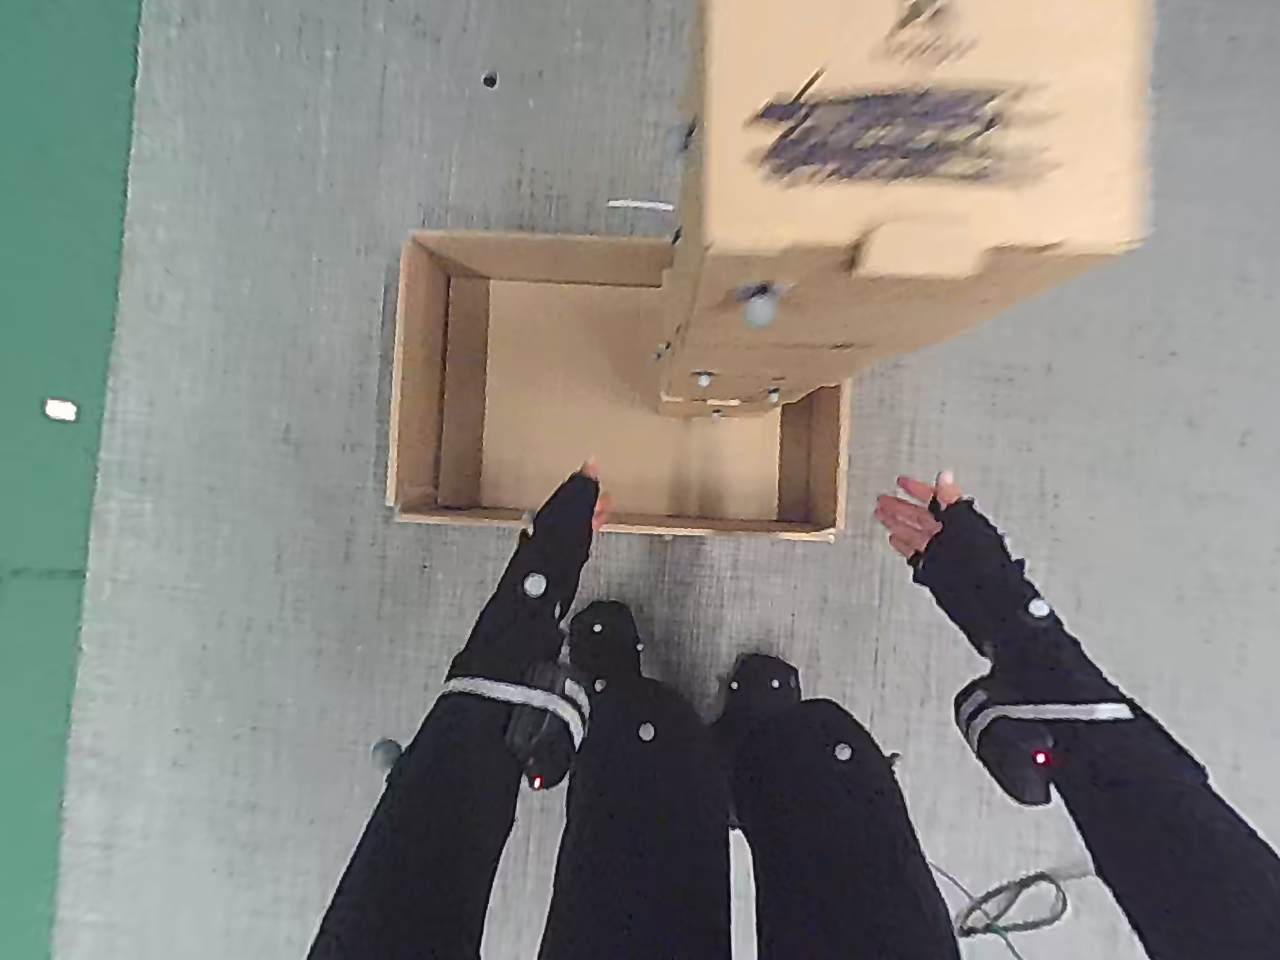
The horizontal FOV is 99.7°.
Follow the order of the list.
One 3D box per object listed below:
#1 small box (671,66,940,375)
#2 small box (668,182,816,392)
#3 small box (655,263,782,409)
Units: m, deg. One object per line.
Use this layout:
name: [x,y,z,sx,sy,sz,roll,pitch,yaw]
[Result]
small box: [0.115,-0.188,0.445,0.168,0.176,0.179,4,90,0]
small box: [0.118,-0.195,0.593,0.168,0.176,0.179,3,90,1]
small box: [0.107,-0.195,0.774,0.168,0.176,0.179,-1,90,2]
